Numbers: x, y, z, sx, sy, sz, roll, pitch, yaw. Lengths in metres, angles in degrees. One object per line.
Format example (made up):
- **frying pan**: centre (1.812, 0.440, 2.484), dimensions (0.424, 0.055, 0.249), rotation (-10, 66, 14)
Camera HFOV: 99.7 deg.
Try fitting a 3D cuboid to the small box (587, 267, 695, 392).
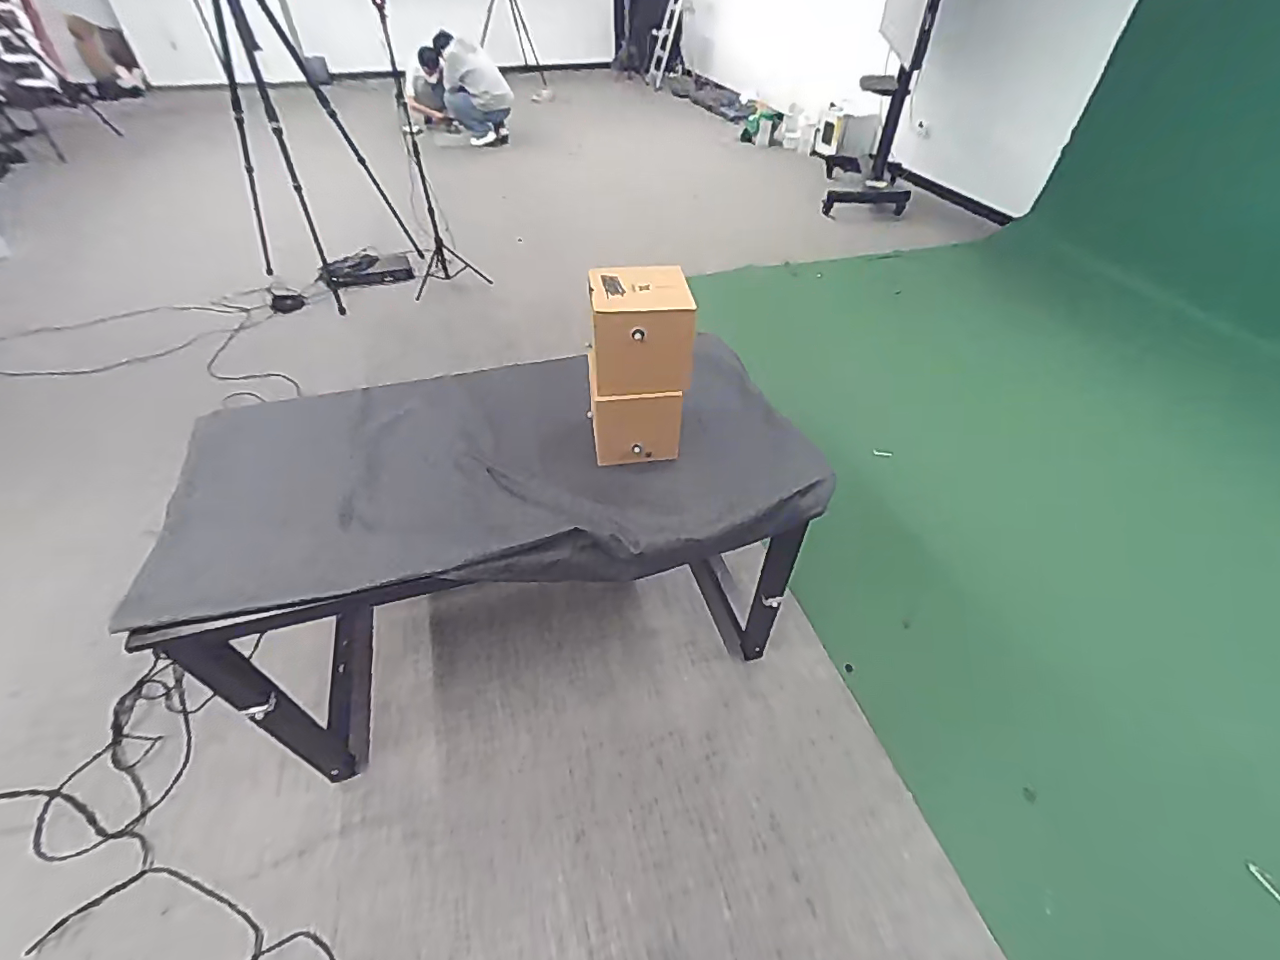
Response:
- **small box**: centre (-0.003, -0.276, 1.001), dimensions (0.179, 0.176, 0.168), rotation (-4, 46, -6)
